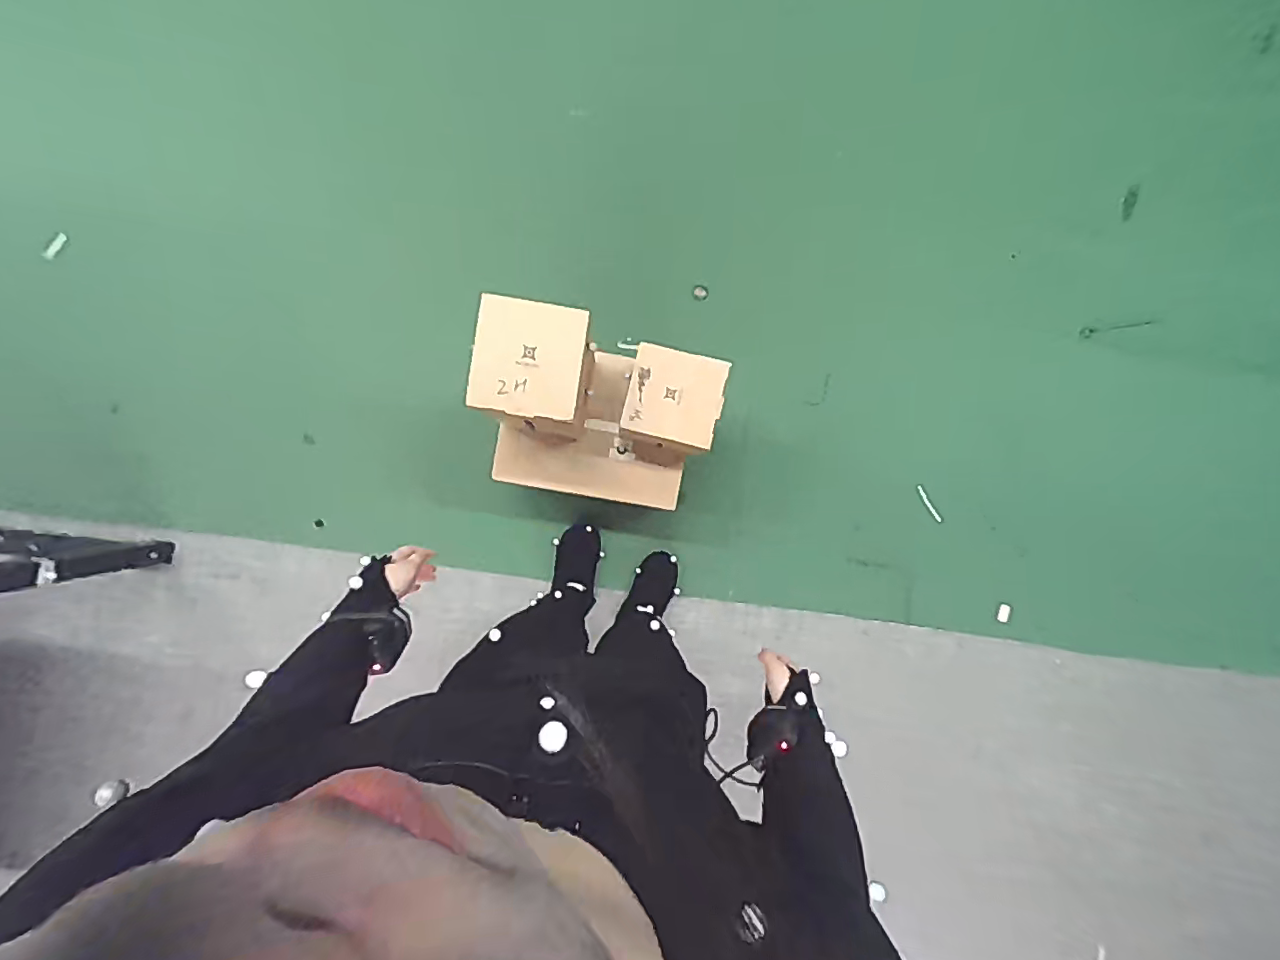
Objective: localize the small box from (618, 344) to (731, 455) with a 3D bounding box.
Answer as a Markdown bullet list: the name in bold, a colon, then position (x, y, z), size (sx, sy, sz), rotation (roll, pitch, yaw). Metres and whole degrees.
- **small box**: position (0.060, -0.147, 1.063), size (0.179, 0.176, 0.168), rotation (15, 88, -2)

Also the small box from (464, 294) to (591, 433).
- **small box**: position (-0.174, -0.181, 0.889), size (0.168, 0.176, 0.179), rotation (9, 89, -3)

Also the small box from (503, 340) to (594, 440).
- **small box**: position (-0.186, -0.183, 1.054), size (0.168, 0.176, 0.179), rotation (10, 89, -4)

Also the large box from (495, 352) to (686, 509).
- **large box**: position (-0.102, -0.115, 1.300), size (0.408, 0.320, 0.320), rotation (9, 90, -4)
